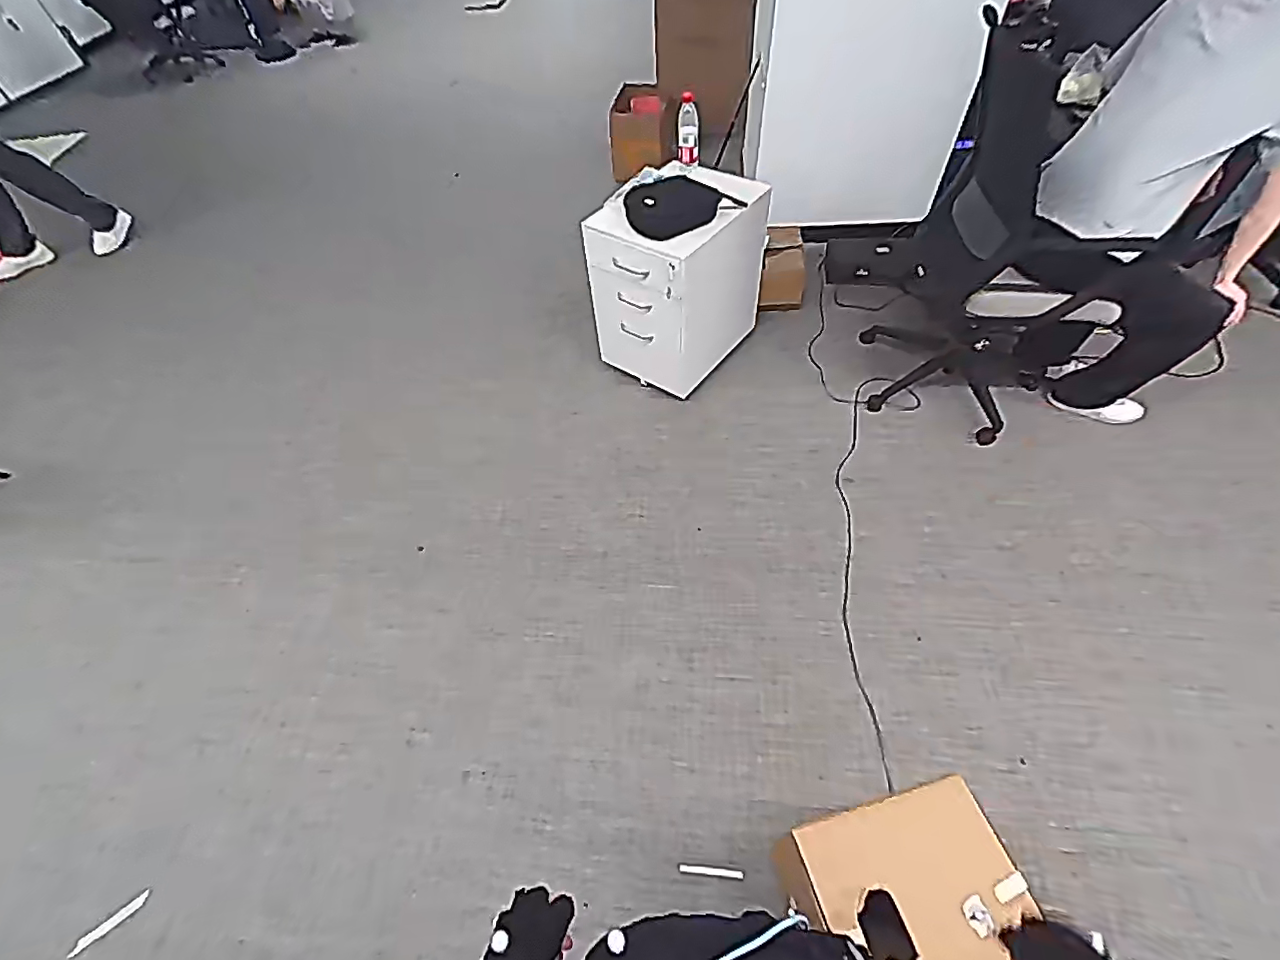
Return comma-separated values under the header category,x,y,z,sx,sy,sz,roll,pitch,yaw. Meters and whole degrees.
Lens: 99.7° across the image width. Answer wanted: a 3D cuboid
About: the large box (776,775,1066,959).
category,x,y,z,sx,sy,sz,roll,pitch,yaw
large box,0.465,0.779,0.976,0.320,0.408,0.320,-16,51,-4
